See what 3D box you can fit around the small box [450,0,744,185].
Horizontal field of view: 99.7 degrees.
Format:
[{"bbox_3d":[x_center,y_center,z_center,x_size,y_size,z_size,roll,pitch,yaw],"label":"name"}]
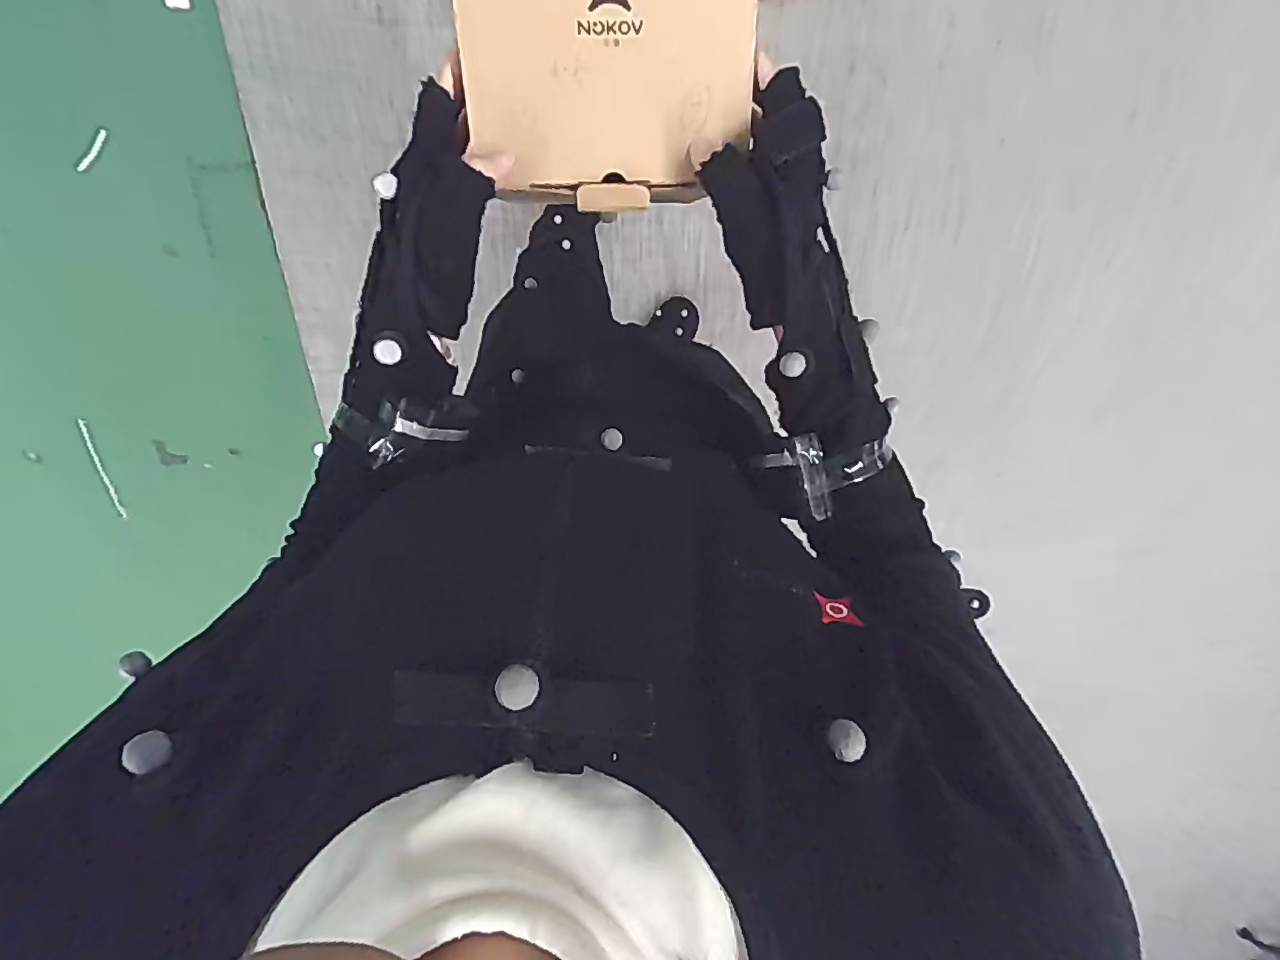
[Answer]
[{"bbox_3d":[-0.028,-0.303,0.370,0.168,0.176,0.179,-3,116,-3],"label":"small box"}]
